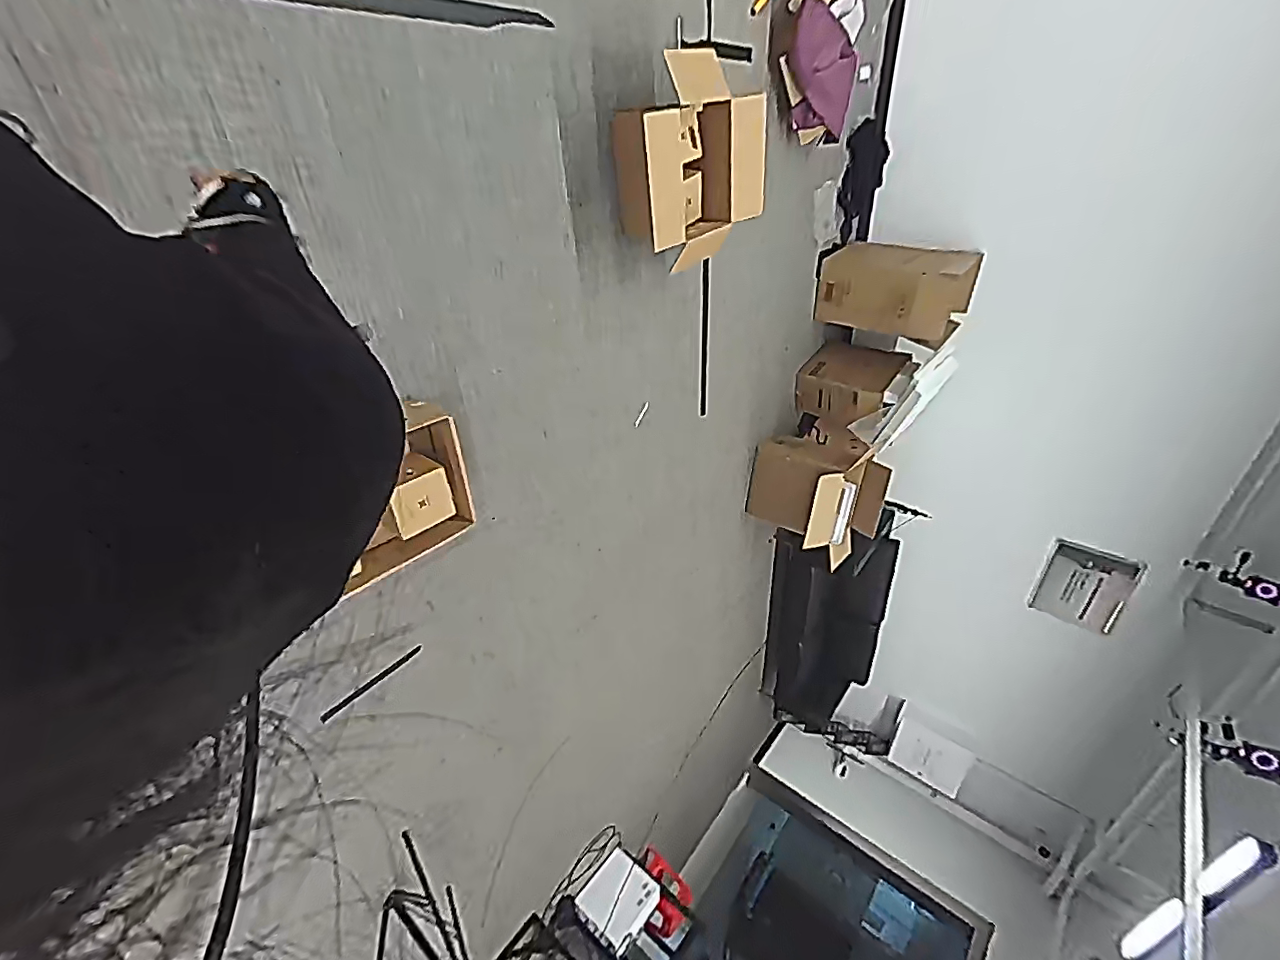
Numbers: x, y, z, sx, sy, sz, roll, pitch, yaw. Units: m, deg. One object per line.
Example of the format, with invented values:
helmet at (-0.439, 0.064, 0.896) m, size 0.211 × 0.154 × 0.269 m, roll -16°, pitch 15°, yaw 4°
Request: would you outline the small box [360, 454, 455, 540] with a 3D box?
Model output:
small box at (-0.675, 0.041, 1.574) m, size 0.179 × 0.176 × 0.168 m, roll -32°, pitch 130°, yaw -38°
